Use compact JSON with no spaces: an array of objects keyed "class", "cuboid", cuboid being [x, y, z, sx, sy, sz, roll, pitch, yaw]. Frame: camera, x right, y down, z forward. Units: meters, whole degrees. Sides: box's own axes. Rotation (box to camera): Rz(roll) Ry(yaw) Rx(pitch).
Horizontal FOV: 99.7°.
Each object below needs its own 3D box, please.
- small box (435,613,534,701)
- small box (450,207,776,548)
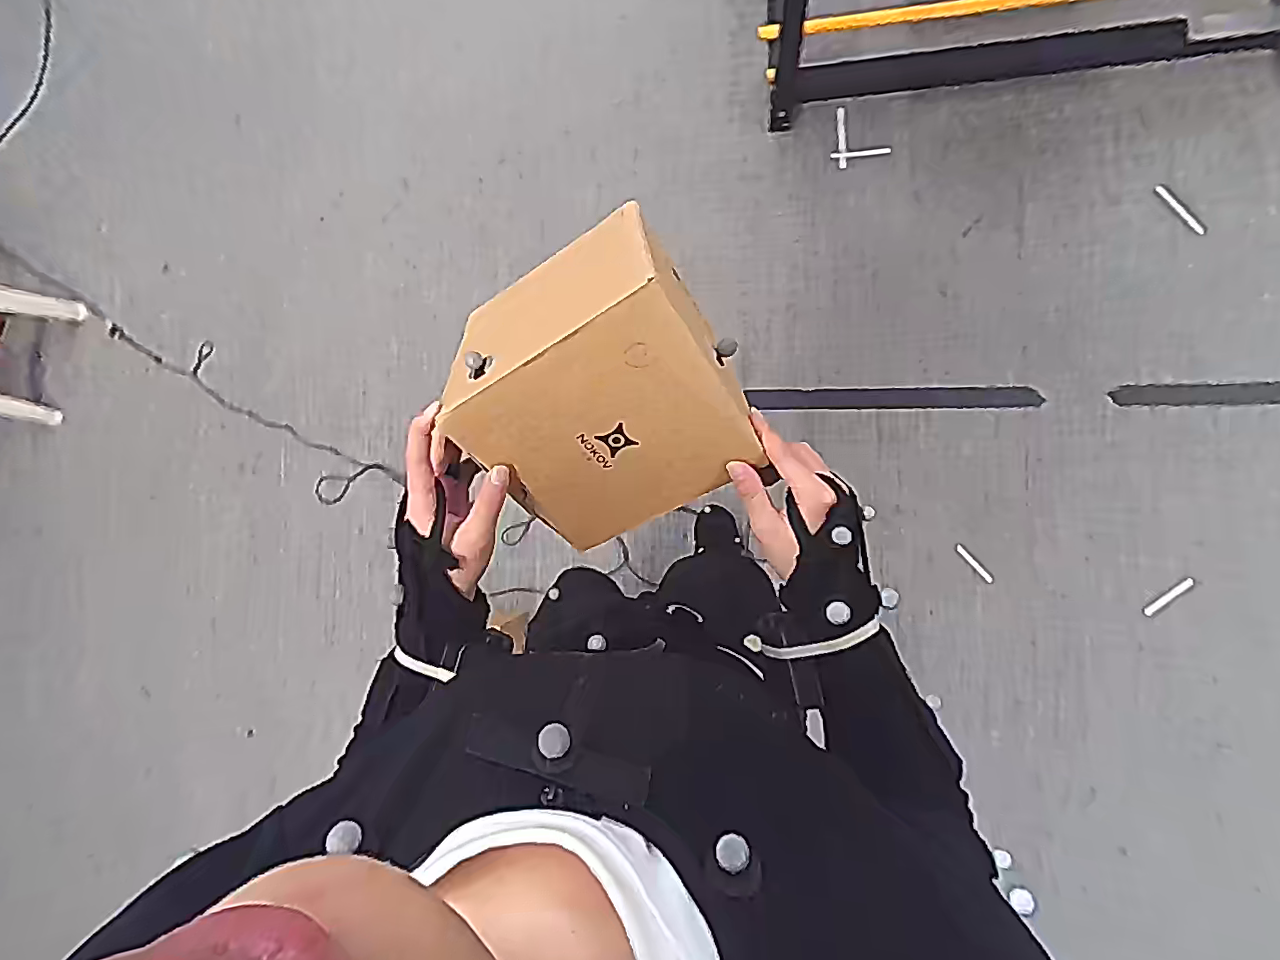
[{"class":"small box","cuboid":[-0.384,0.436,1.350,0.179,0.176,0.168,-7,88,9]},{"class":"small box","cuboid":[-0.019,-0.082,0.433,0.179,0.176,0.168,-26,129,19]}]
